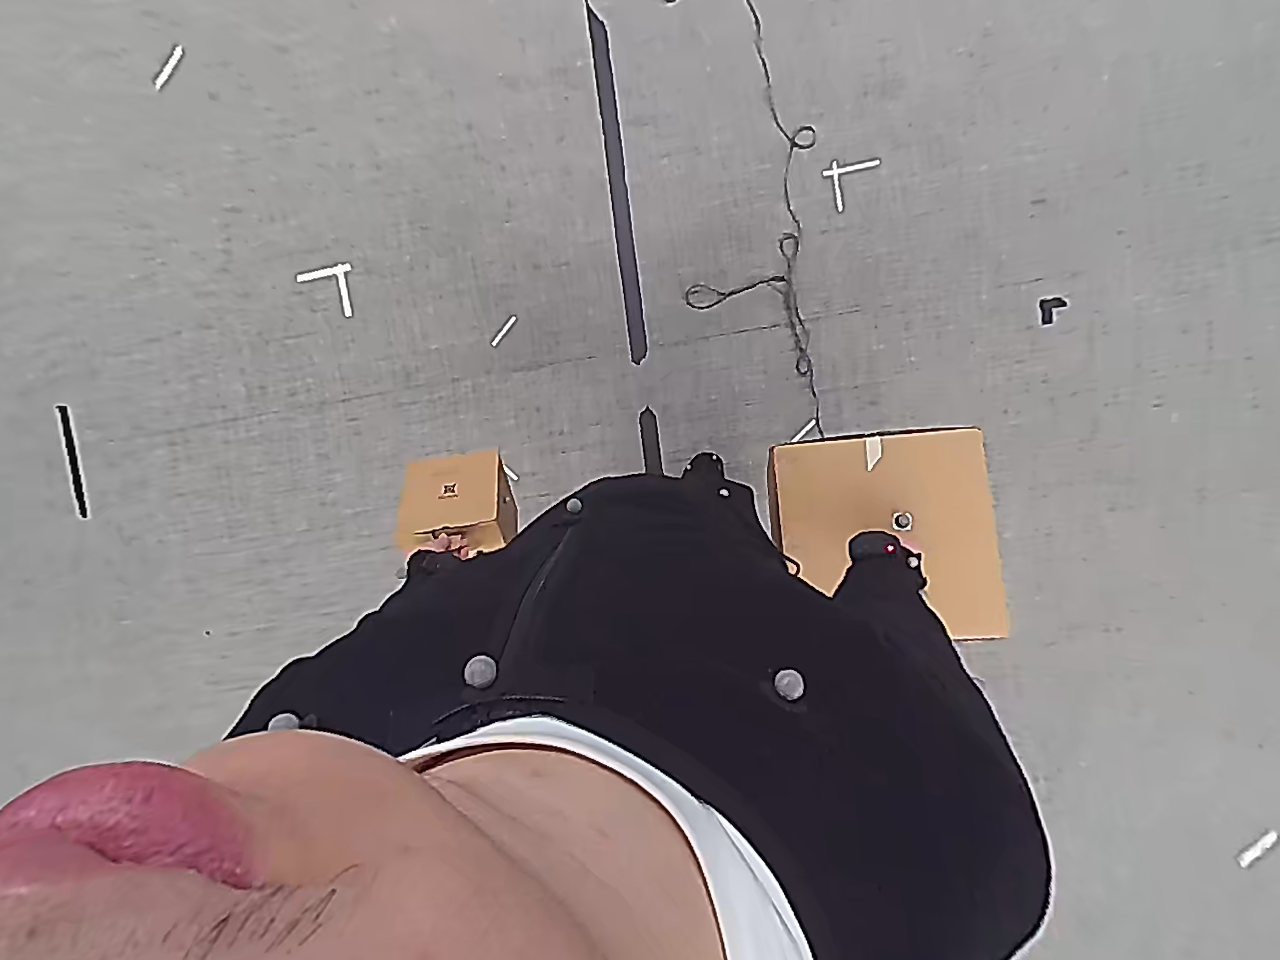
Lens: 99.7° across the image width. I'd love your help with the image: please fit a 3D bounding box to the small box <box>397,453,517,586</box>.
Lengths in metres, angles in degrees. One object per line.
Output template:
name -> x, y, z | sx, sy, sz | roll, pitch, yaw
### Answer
small box -> -0.323, 0.077, 0.990 | 0.168, 0.179, 0.176 | -9, 135, -6
